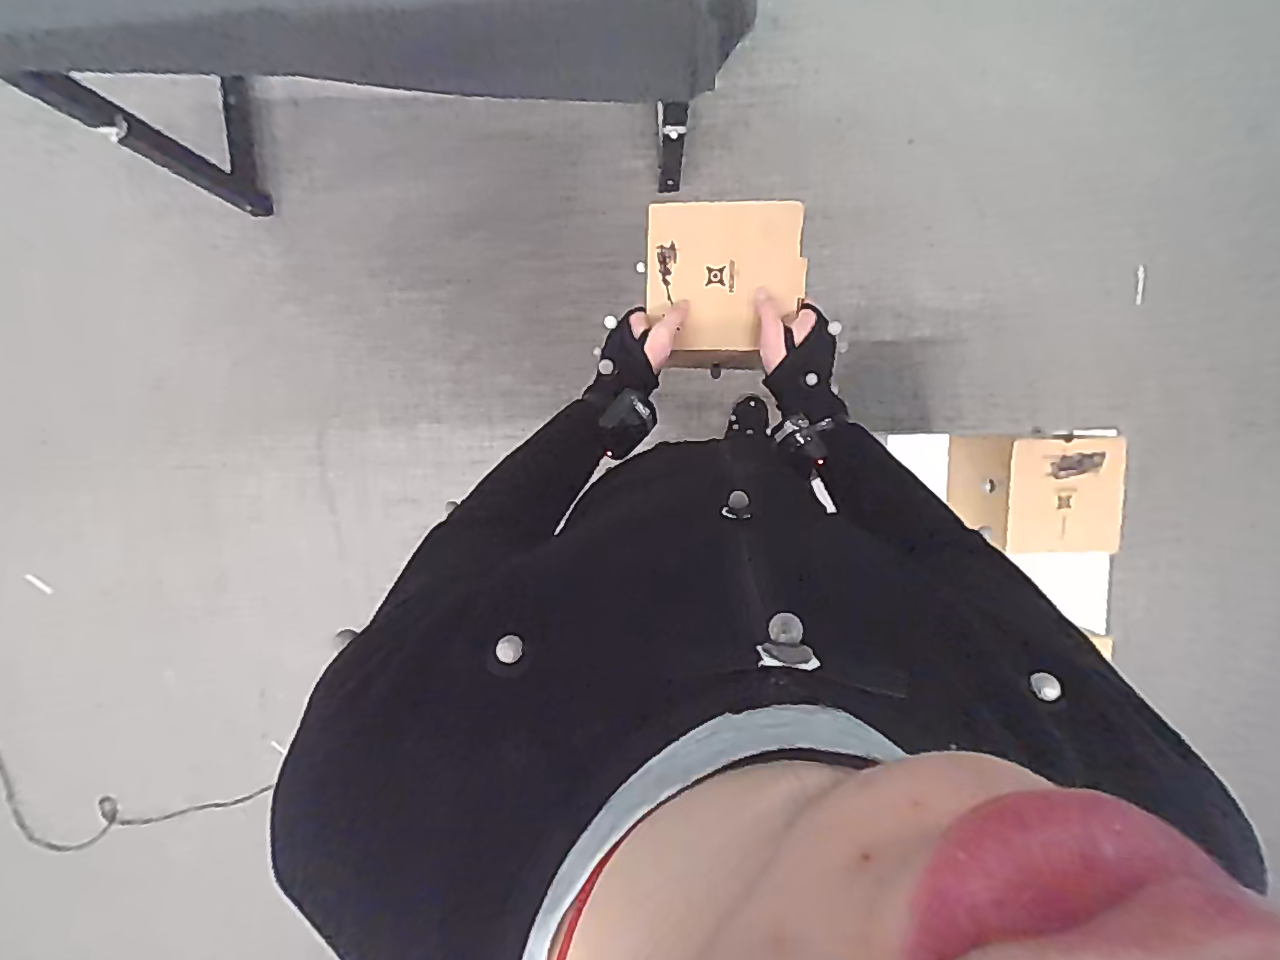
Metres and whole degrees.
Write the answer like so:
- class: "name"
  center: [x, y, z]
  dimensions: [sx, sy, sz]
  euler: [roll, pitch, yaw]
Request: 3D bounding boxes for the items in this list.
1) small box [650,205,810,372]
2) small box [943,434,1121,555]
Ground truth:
- class: "small box"
  center: [0.104, -0.231, 0.688]
  dimensions: [0.179, 0.176, 0.168]
  euler: [1, 95, 4]
- class: "small box"
  center: [0.618, 0.014, 0.875]
  dimensions: [0.168, 0.176, 0.179]
  euler: [-1, 98, 0]
